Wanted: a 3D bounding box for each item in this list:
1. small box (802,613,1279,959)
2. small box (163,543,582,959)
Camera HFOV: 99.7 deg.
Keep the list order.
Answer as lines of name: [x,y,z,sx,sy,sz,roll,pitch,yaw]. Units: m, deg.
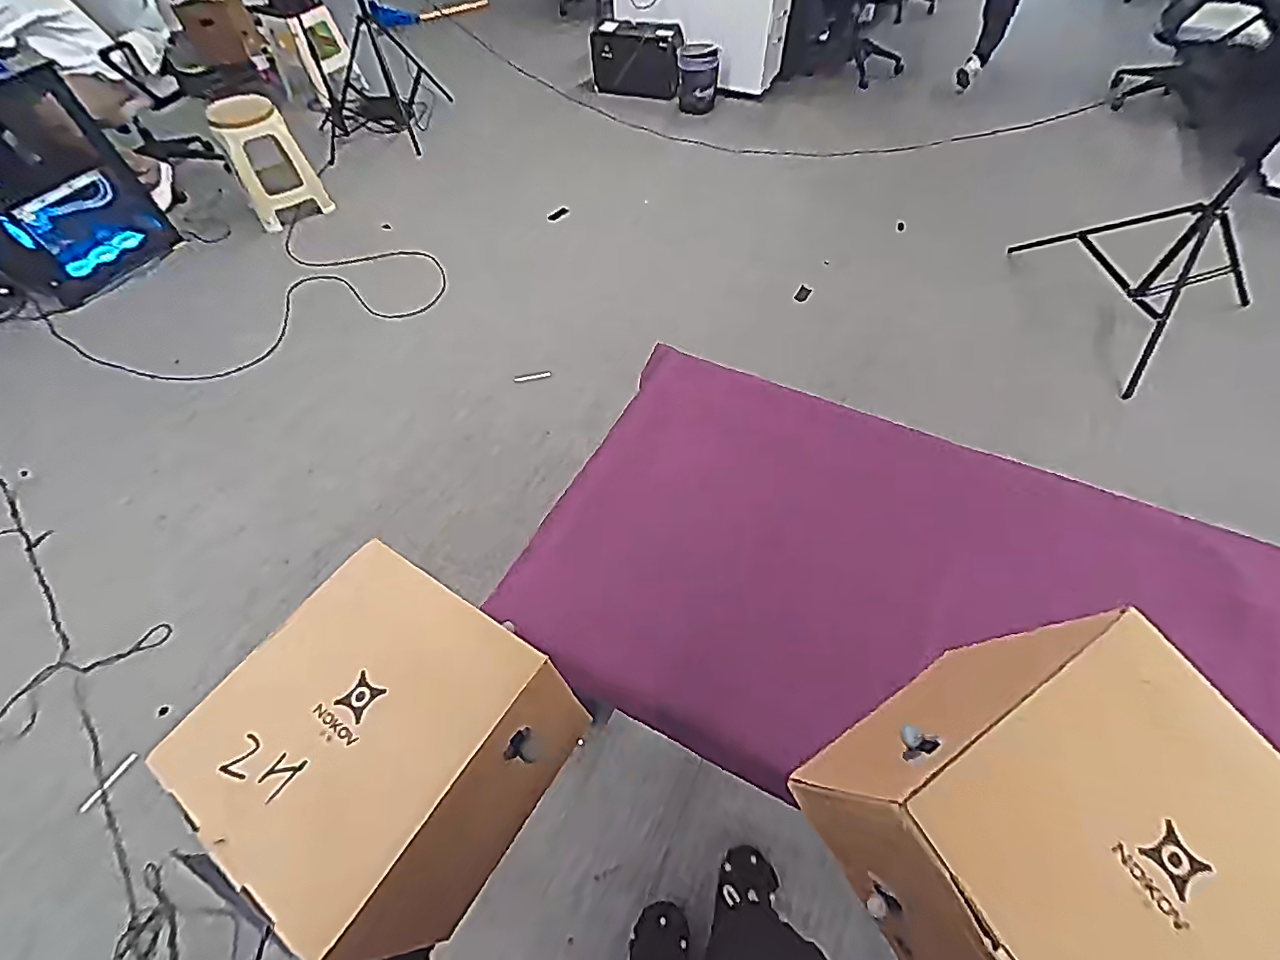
small box: [0.229,0.205,0.317,0.179,0.176,0.168,-29,70,-16]
small box: [-0.157,0.183,0.386,0.168,0.176,0.179,26,62,23]
